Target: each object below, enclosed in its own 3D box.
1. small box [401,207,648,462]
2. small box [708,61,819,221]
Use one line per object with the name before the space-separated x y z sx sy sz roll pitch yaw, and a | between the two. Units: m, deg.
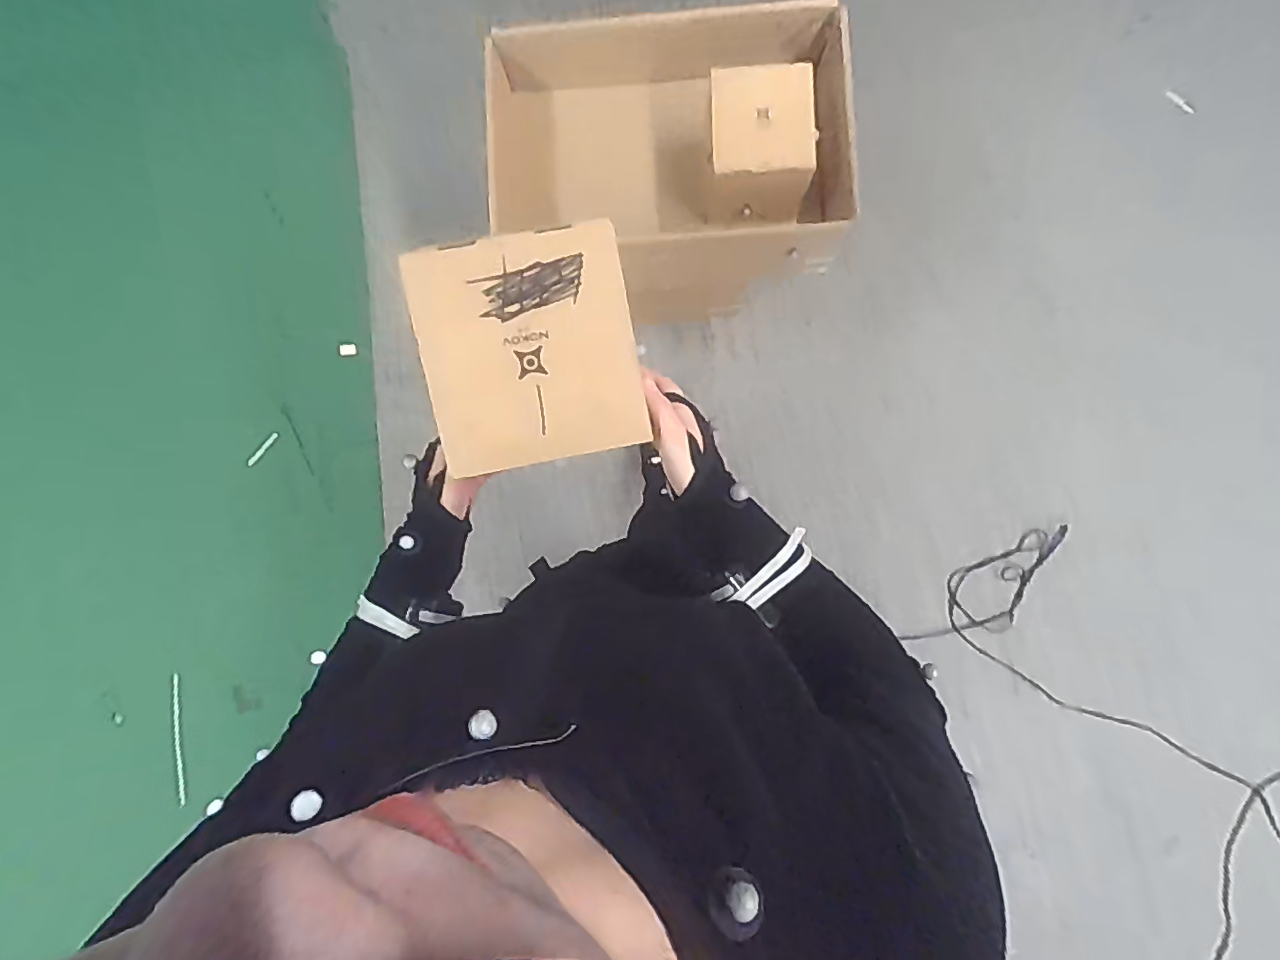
small box | -0.093 -0.121 0.500 0.168 0.176 0.179 -11 99 -2
small box | 0.207 -0.581 0.944 0.168 0.176 0.179 -1 88 4
